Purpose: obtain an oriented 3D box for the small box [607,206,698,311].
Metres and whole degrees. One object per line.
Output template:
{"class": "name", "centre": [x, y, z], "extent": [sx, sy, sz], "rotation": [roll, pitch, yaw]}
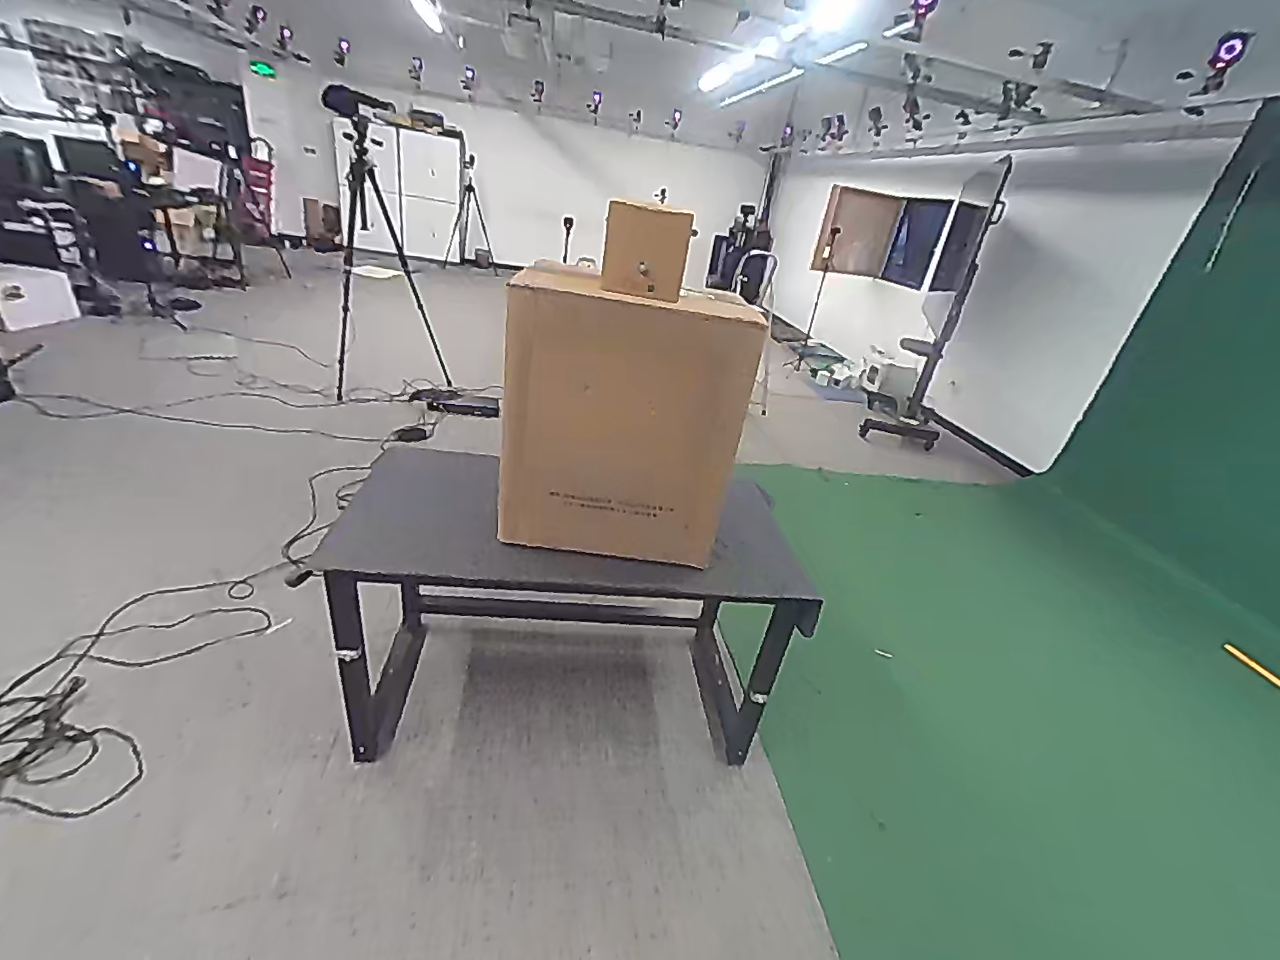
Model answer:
{"class": "small box", "centre": [0.026, -0.475, 1.156], "extent": [0.168, 0.176, 0.179], "rotation": [10, 30, -1]}
